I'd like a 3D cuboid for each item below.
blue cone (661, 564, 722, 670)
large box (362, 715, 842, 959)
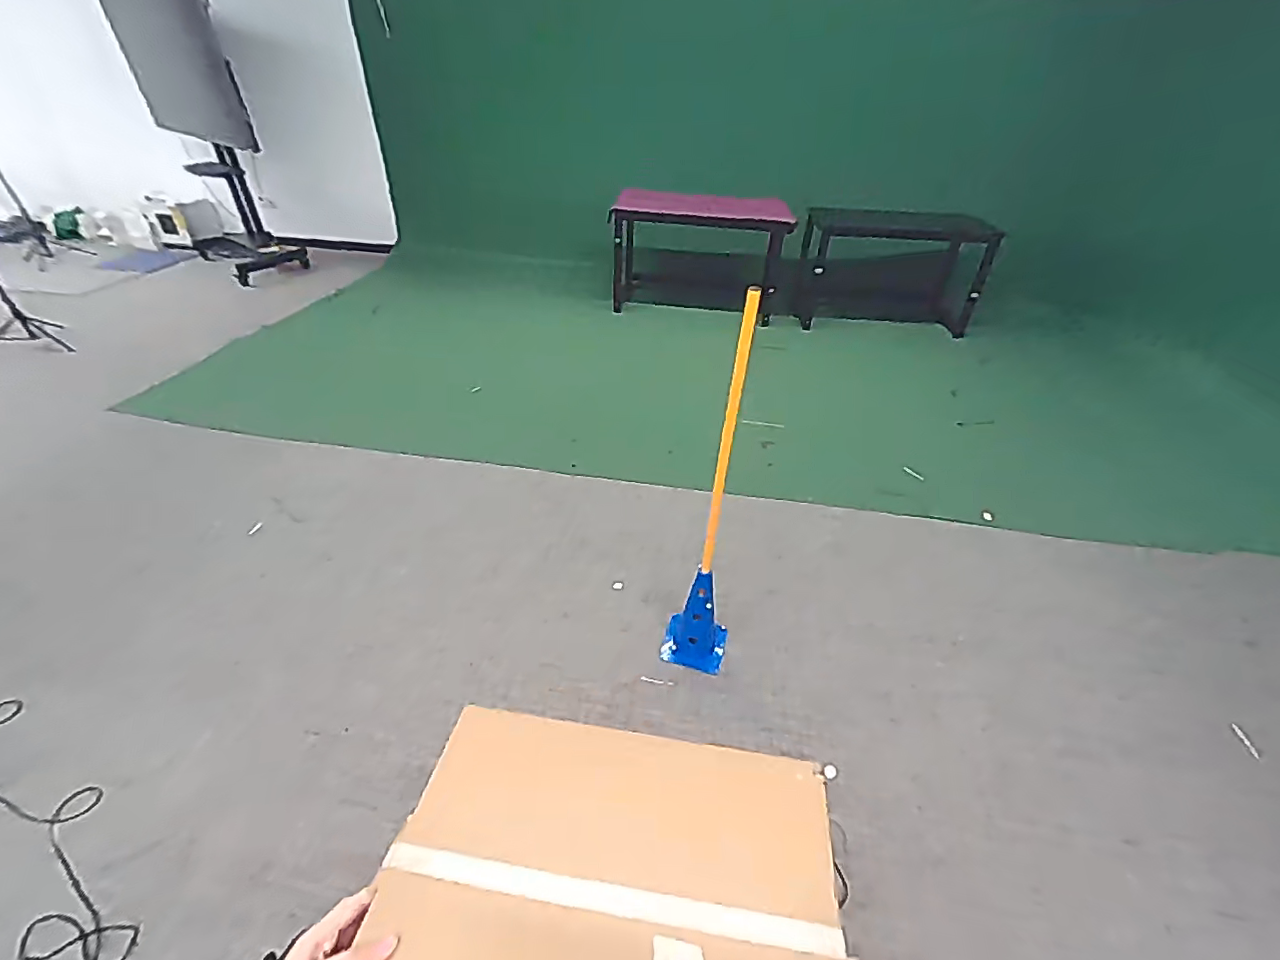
[{"bbox_3d":[0.183,0.420,1.732,0.193,0.380,0.192,13,38,13],"label":"blue cone"},{"bbox_3d":[-0.029,0.501,0.568,0.408,0.320,0.320,7,35,6],"label":"large box"}]
